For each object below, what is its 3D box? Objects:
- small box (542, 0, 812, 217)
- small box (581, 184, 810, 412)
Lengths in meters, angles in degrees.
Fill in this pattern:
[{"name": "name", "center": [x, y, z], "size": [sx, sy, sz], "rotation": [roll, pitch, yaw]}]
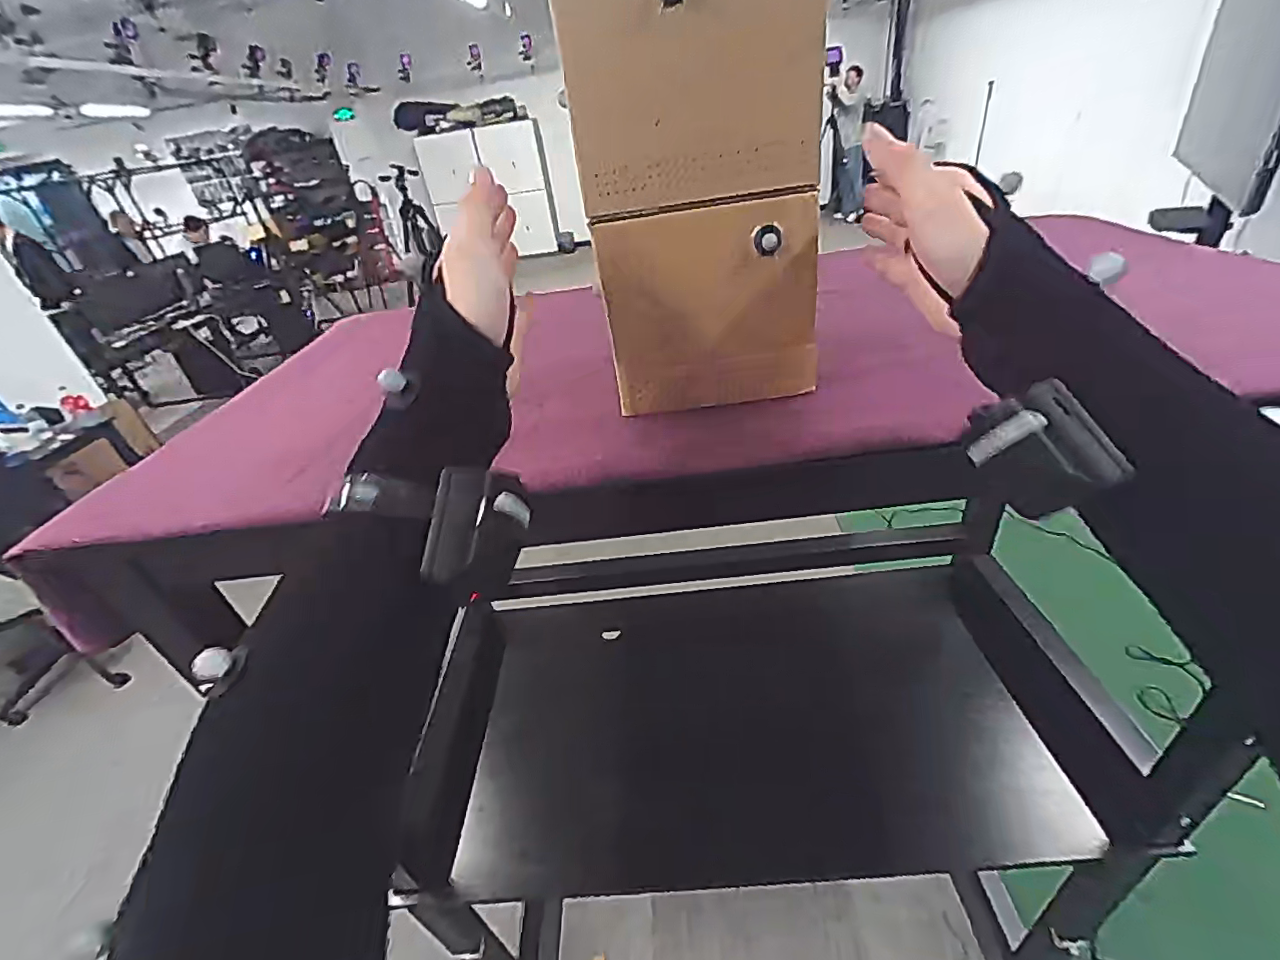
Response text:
[{"name": "small box", "center": [0.030, -0.312, 0.420], "size": [0.179, 0.176, 0.168], "rotation": [-6, 33, 5]}, {"name": "small box", "center": [0.052, -0.175, 0.509], "size": [0.179, 0.176, 0.168], "rotation": [-7, 33, 4]}]
